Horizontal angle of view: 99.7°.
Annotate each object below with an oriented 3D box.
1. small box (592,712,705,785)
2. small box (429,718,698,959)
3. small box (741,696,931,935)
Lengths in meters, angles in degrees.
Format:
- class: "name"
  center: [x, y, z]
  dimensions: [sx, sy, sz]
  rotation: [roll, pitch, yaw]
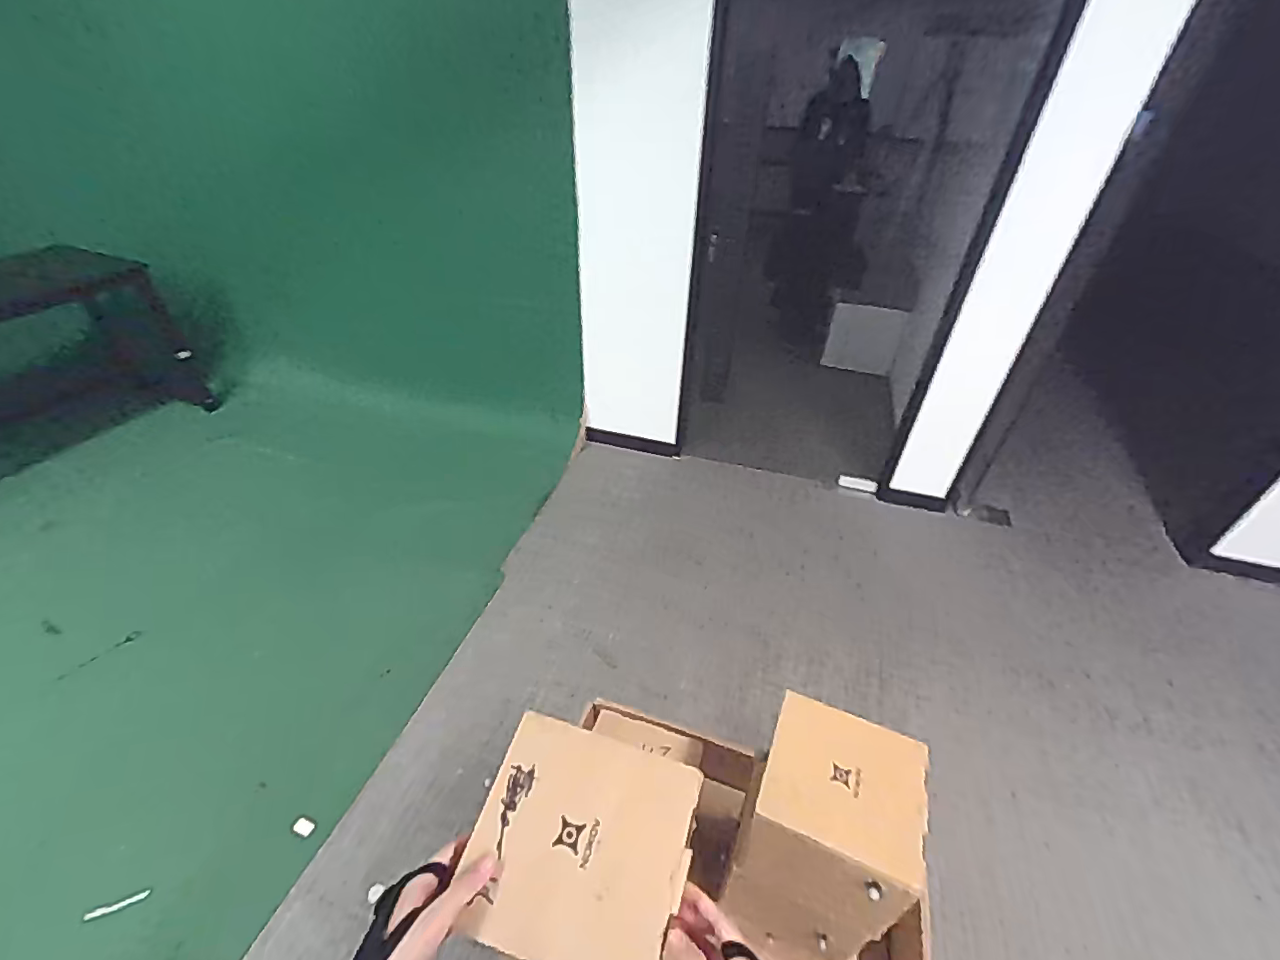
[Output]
- class: "small box"
  center: [-0.010, 0.490, 0.806]
  dimensions: [0.168, 0.176, 0.179]
  rotation: [14, 41, 13]
- class: "small box"
  center: [-0.057, 0.353, 0.504]
  dimensions: [0.179, 0.176, 0.168]
  rotation: [14, 50, 10]
- class: "small box"
  center: [0.234, 0.408, 0.662]
  dimensions: [0.179, 0.176, 0.168]
  rotation: [17, 40, 19]
